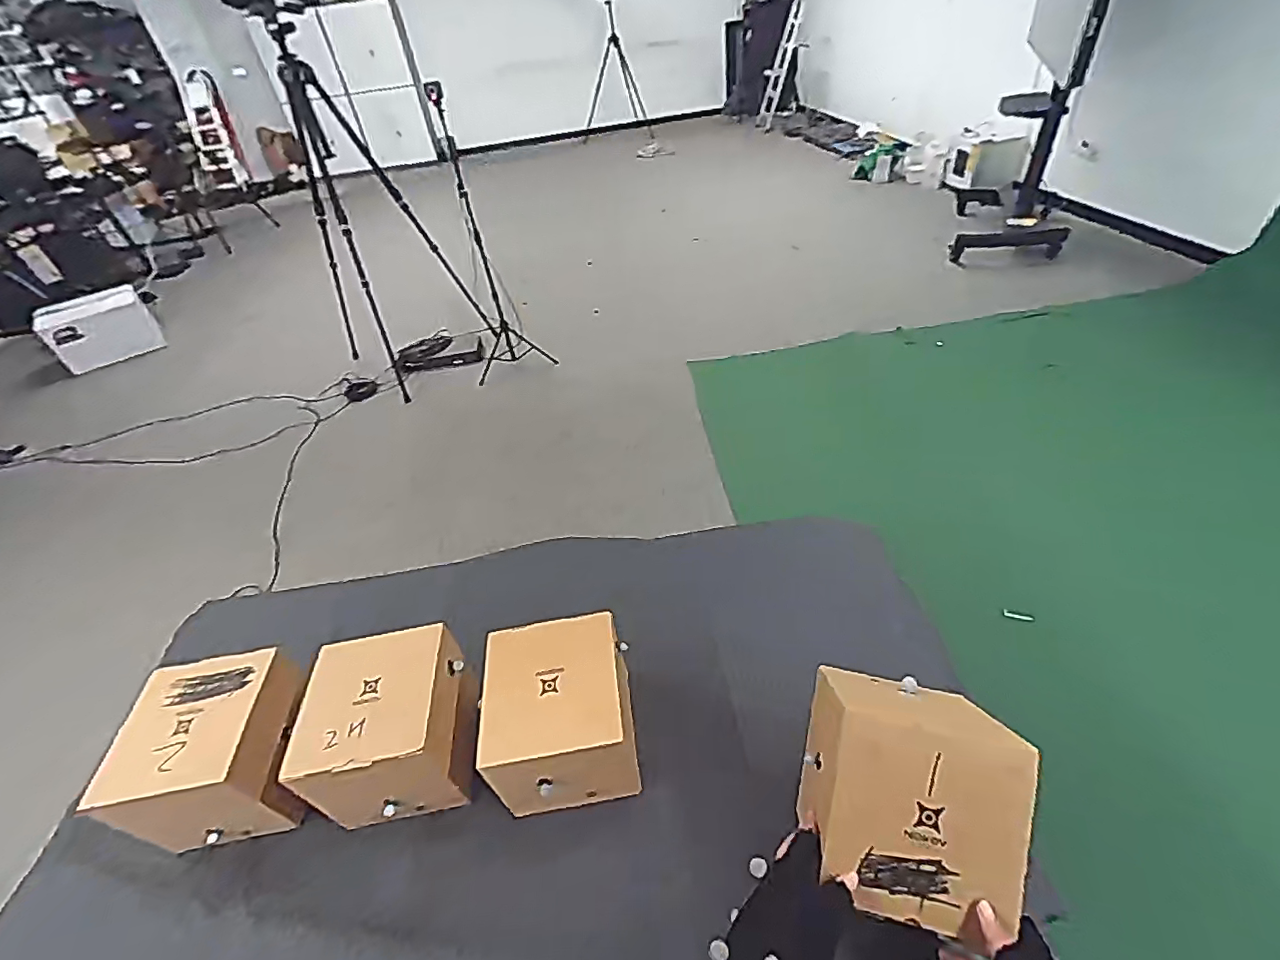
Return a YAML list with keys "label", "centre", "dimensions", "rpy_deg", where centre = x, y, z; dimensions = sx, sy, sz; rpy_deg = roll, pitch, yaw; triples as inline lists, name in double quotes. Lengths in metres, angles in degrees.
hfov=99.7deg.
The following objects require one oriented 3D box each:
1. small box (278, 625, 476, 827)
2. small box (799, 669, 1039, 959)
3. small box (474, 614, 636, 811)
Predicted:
- label: "small box"
  centre: [-0.326, 0.324, 0.717]
  dimensions: [0.168, 0.176, 0.179]
  rpy_deg: [-11, 41, -2]
- label: "small box"
  centre: [0.265, 0.315, 0.556]
  dimensions: [0.168, 0.176, 0.179]
  rpy_deg: [10, 85, 11]
- label: "small box"
  centre: [-0.103, 0.306, 0.704]
  dimensions: [0.168, 0.176, 0.179]
  rpy_deg: [-10, 41, -2]
